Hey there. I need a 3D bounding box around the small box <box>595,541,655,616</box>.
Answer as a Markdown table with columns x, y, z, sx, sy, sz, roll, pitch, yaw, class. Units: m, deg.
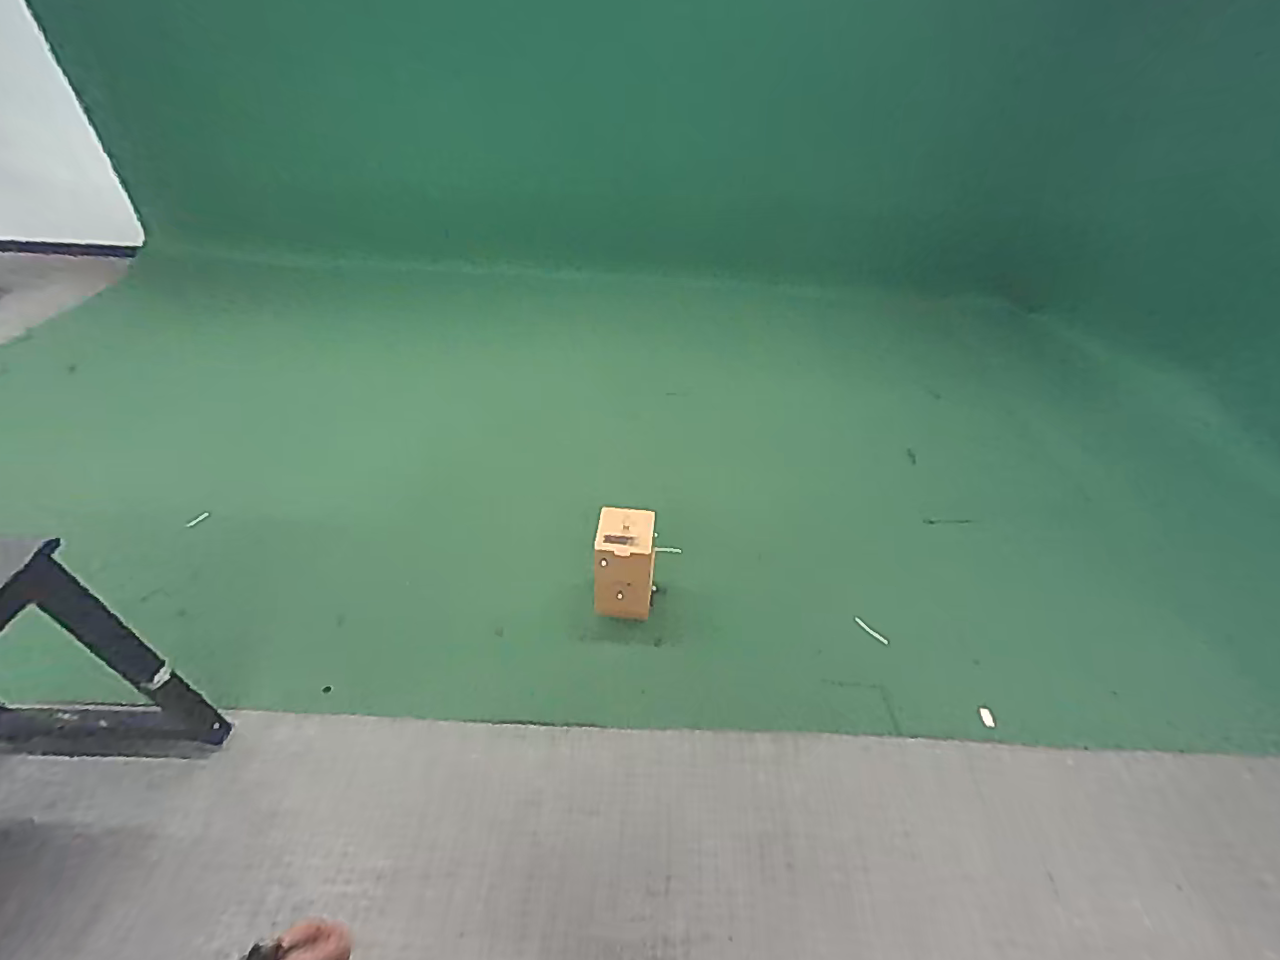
| x | y | z | sx | sy | sz | roll | pitch | yaw | class |
| --- | --- | --- | --- | --- | --- | --- | --- | --- | --- |
| -0.048 | 0.322 | 1.752 | 0.179 | 0.176 | 0.168 | 5 | 42 | 2 | small box |
